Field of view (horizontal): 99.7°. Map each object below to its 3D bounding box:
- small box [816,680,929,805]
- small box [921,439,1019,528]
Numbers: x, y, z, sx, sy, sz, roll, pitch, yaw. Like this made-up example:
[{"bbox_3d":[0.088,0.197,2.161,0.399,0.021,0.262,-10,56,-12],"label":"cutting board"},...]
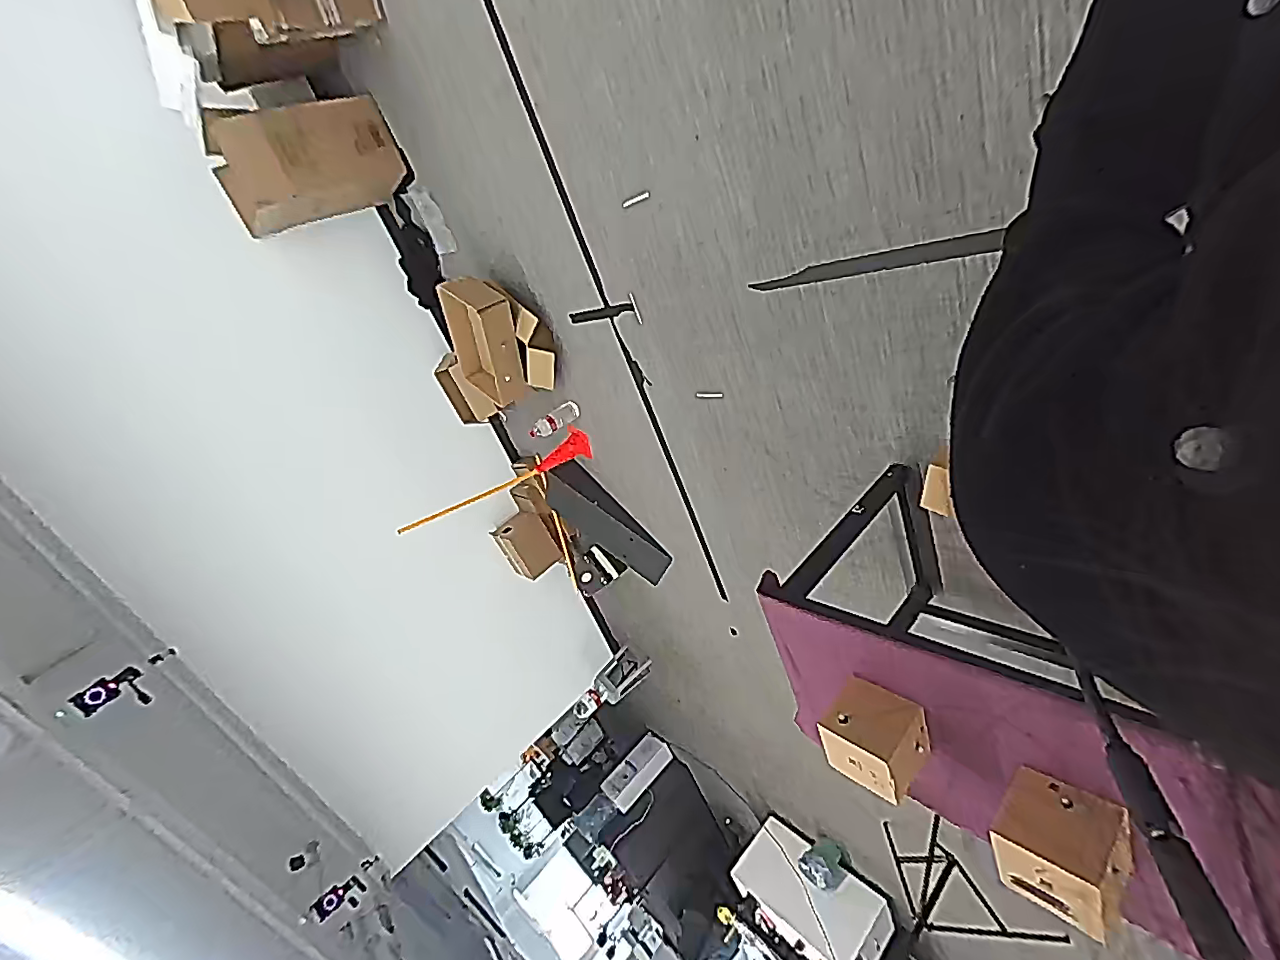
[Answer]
[{"bbox_3d":[0.550,0.606,1.276,0.179,0.176,0.168,13,133,49],"label":"small box"},{"bbox_3d":[0.946,0.002,1.554,0.179,0.176,0.168,27,142,38],"label":"small box"}]
